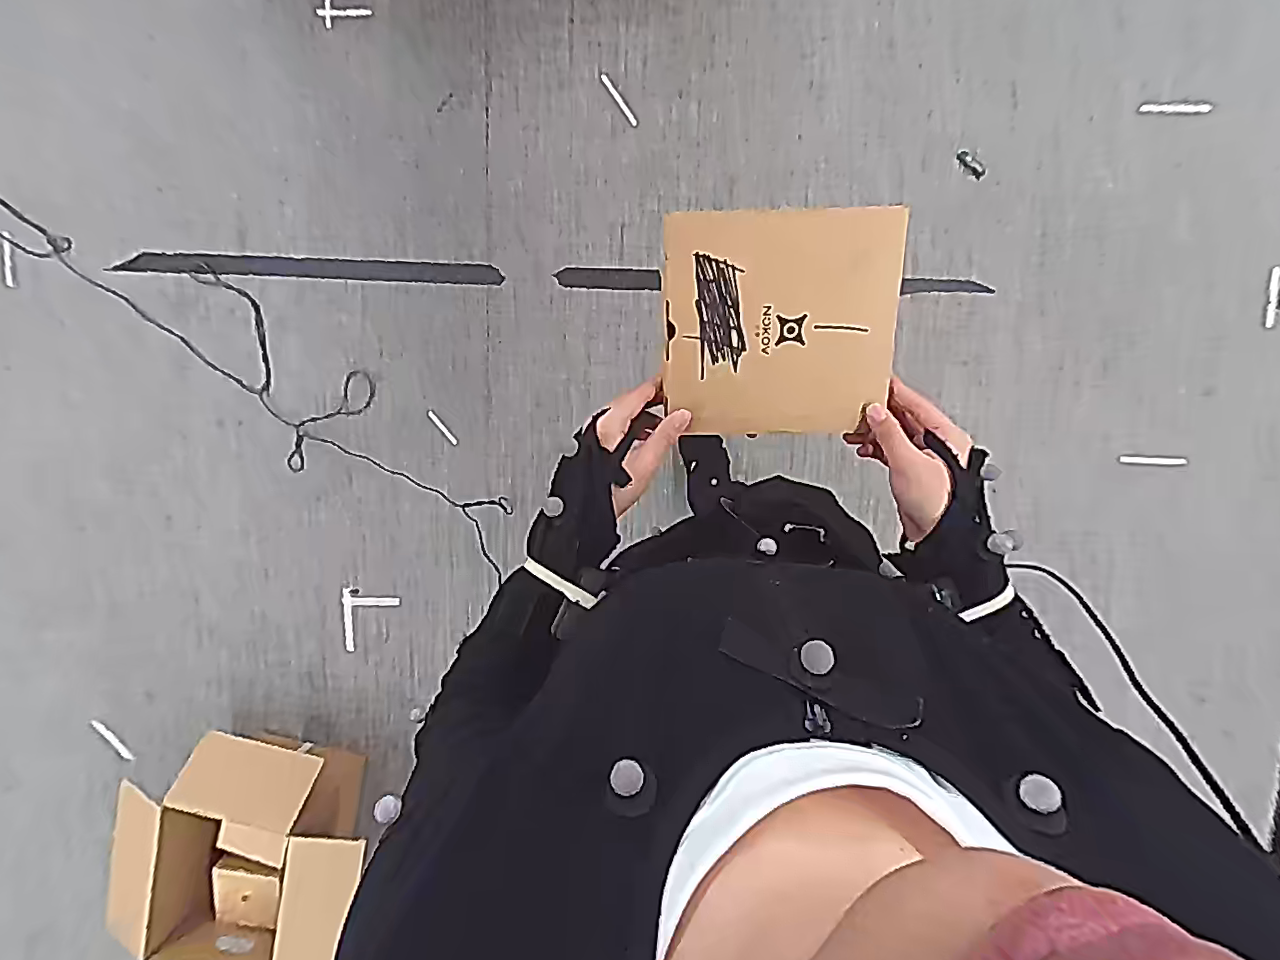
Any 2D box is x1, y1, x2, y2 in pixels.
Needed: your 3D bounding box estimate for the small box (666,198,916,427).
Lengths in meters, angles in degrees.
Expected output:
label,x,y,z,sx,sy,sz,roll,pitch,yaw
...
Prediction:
label,x,y,z,sx,sy,sz,roll,pitch,yaw
small box,0.116,-0.145,0.485,0.179,0.176,0.168,1,107,5
